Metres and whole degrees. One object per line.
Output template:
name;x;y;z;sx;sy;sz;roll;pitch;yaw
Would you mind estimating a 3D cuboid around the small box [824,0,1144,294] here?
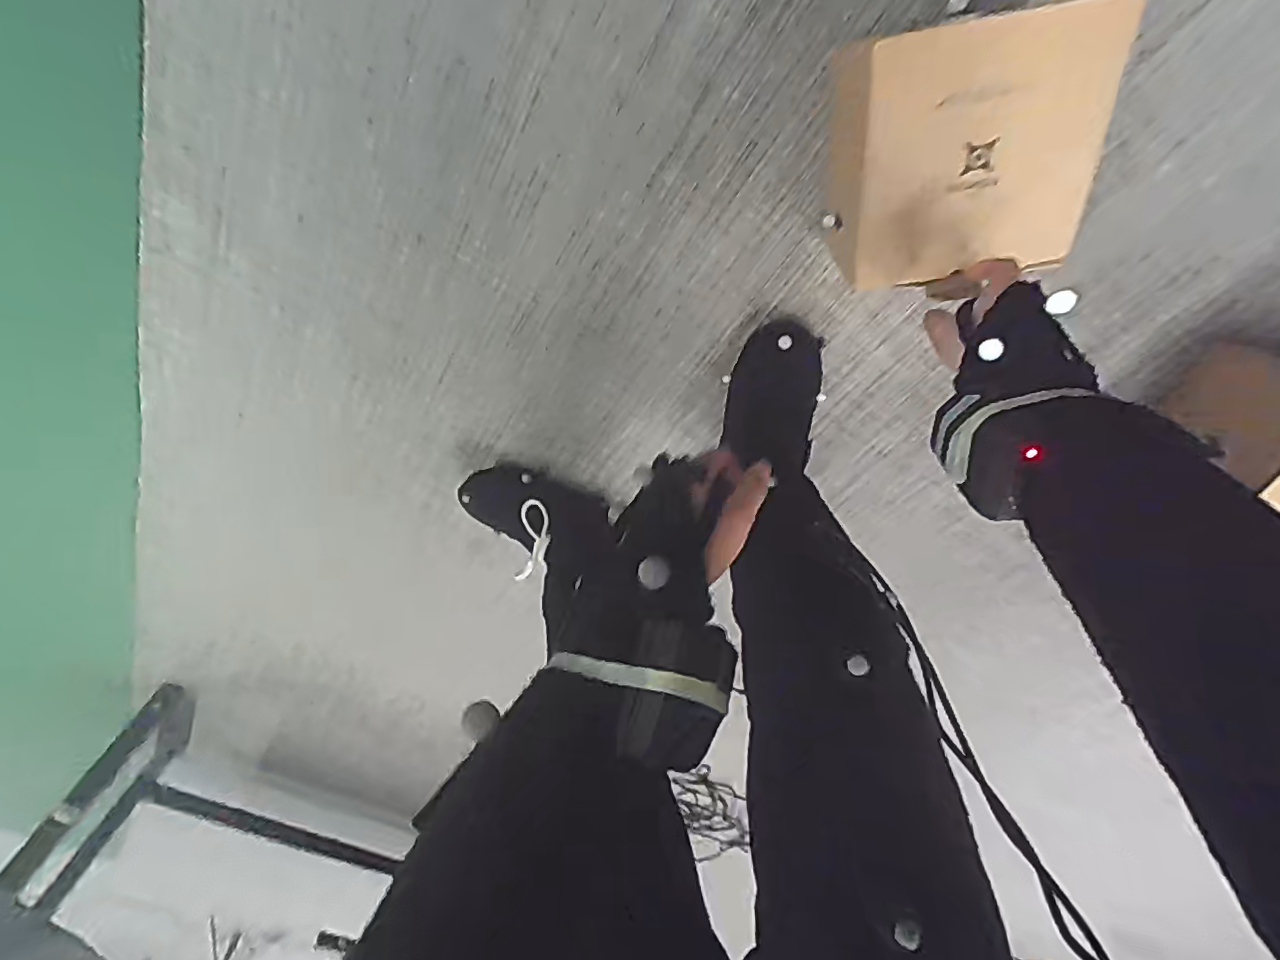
small box;0.257;-0.281;0.462;0.168;0.176;0.179;-4;126;10
